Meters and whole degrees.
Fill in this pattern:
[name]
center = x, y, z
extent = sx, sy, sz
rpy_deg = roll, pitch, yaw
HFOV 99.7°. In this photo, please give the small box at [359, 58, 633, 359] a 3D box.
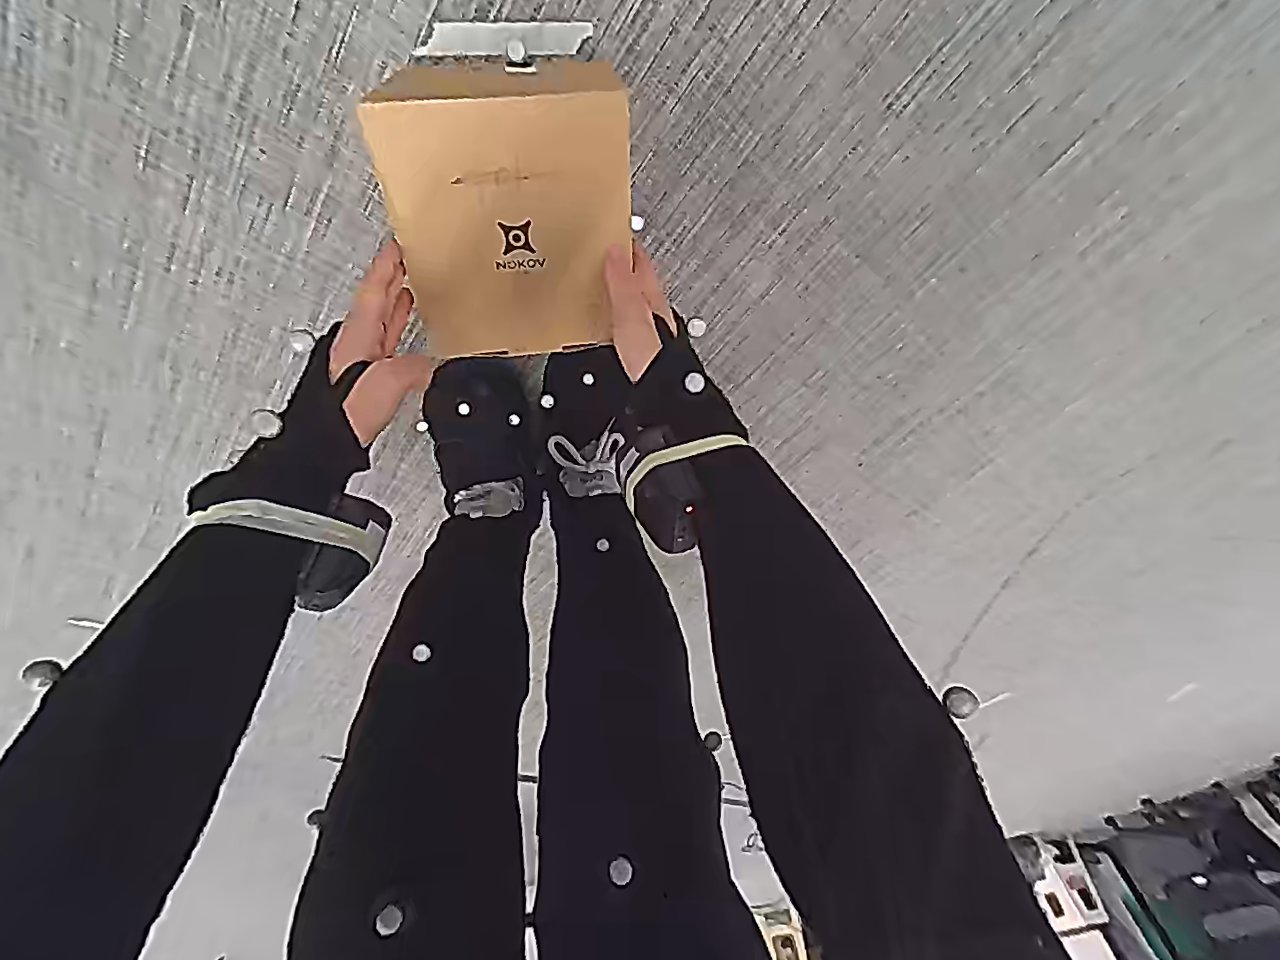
[small box]
center = -0.098, -0.223, 0.443
extent = 0.168, 0.176, 0.179
rpy_deg = -7, 134, -6
